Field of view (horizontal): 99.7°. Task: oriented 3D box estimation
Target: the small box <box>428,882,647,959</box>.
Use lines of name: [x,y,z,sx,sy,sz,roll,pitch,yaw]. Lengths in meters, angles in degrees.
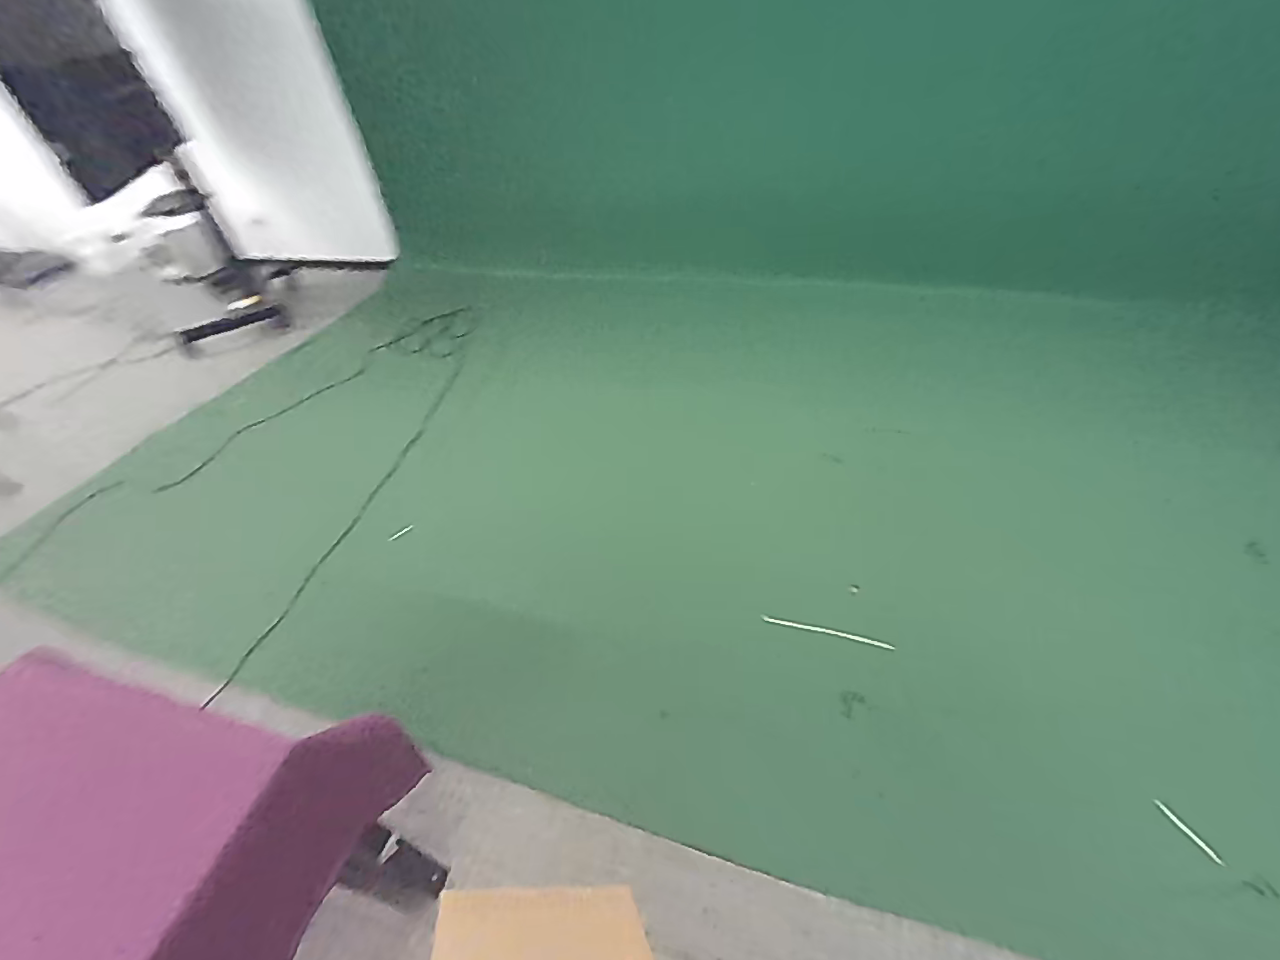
small box: [-0.085,0.450,0.418,0.179,0.168,0.176,9,-3,-13]
